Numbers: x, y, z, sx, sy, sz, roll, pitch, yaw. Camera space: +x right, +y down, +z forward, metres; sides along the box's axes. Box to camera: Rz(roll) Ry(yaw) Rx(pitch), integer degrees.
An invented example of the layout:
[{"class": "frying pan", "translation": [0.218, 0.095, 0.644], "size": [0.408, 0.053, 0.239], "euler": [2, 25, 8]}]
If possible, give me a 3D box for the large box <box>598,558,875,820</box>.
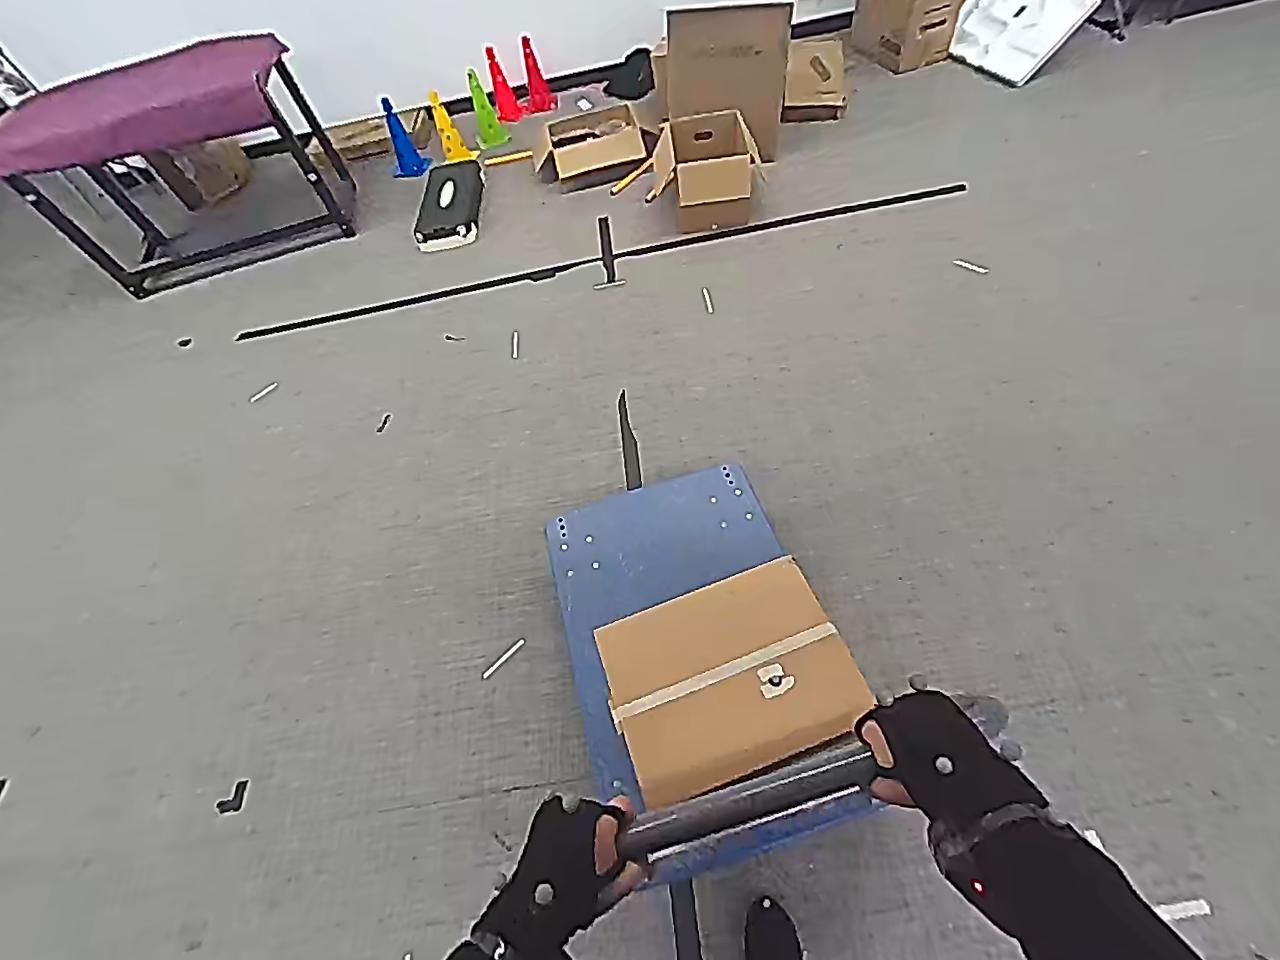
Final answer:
[{"class": "large box", "translation": [0.171, 0.418, 1.068], "size": [0.408, 0.320, 0.320], "euler": [-20, 56, -5]}]
